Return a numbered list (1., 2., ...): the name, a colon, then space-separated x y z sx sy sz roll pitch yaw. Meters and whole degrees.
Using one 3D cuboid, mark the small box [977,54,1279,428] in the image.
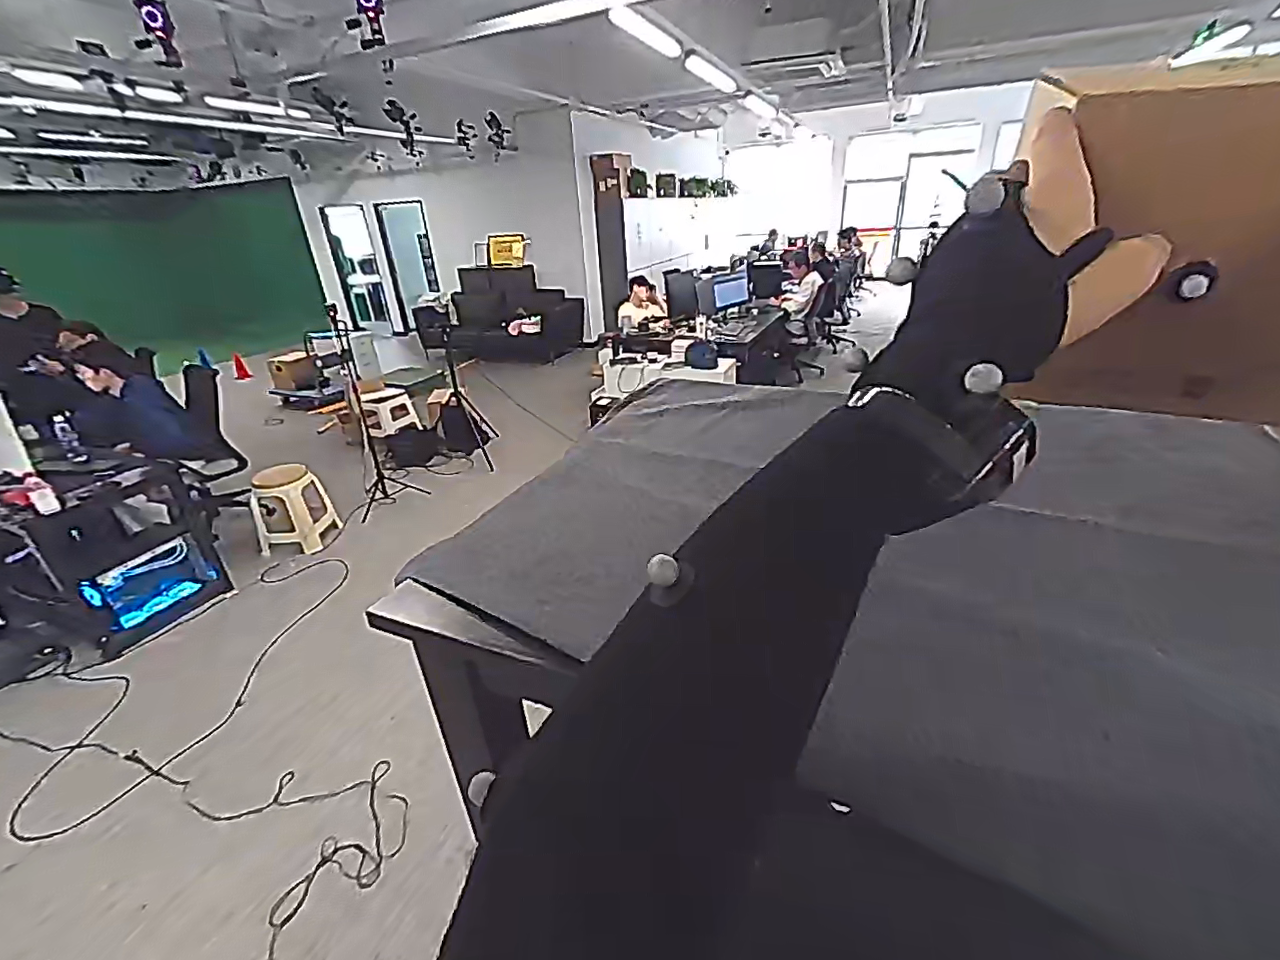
1. small box: 0.326 -0.150 0.336 0.168 0.176 0.179 11 40 21
